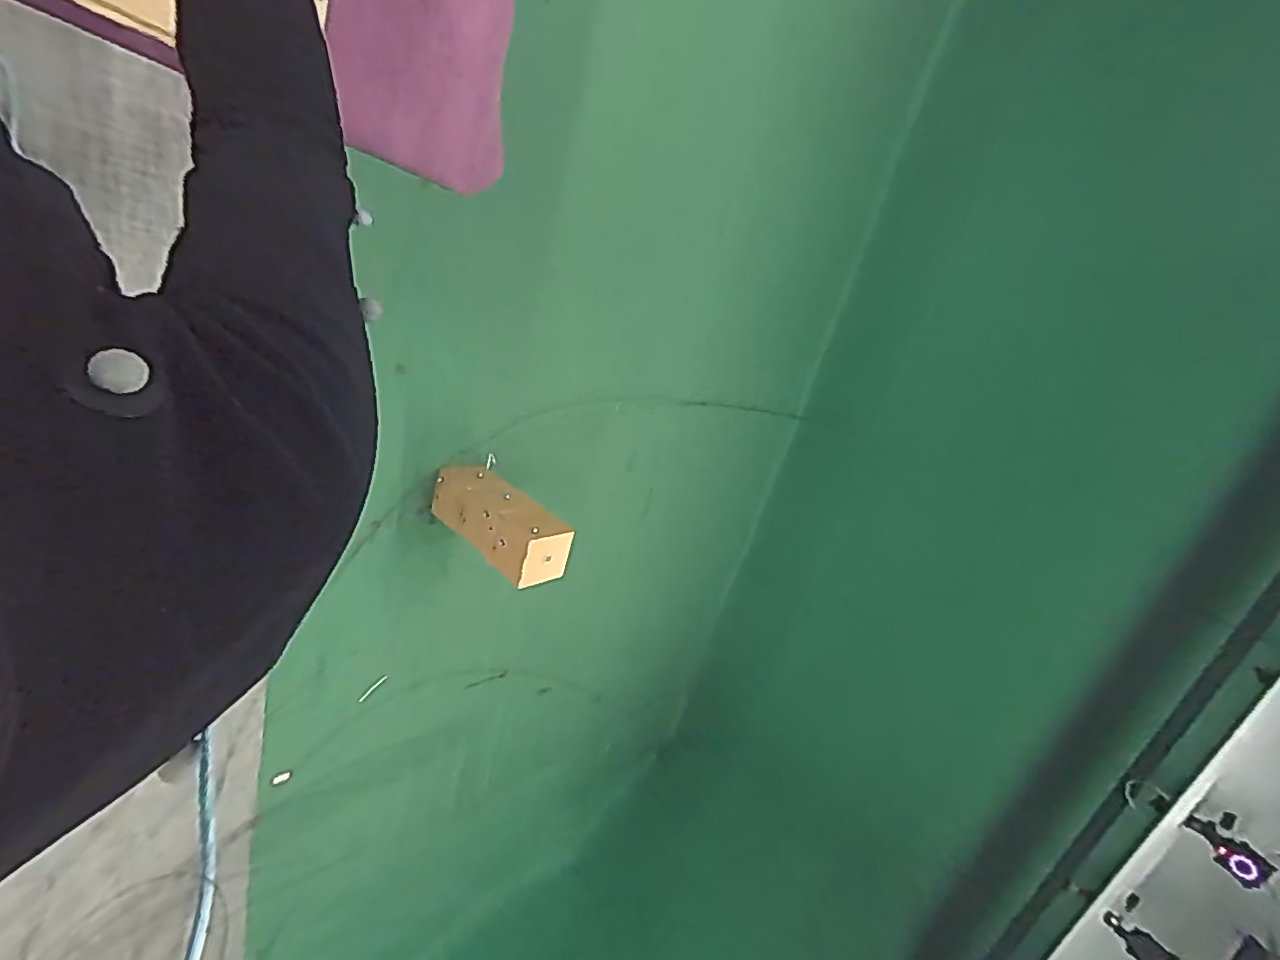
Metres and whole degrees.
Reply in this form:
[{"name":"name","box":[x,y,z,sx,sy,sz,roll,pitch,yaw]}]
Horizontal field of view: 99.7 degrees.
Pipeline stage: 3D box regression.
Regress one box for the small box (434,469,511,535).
[{"name":"small box","box":[-0.572,0.068,1.833,0.179,0.176,0.168,-4,118,-52]}]

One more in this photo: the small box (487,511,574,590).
[{"name":"small box","box":[-0.336,0.207,1.654,0.179,0.176,0.168,-7,120,-50]}]
